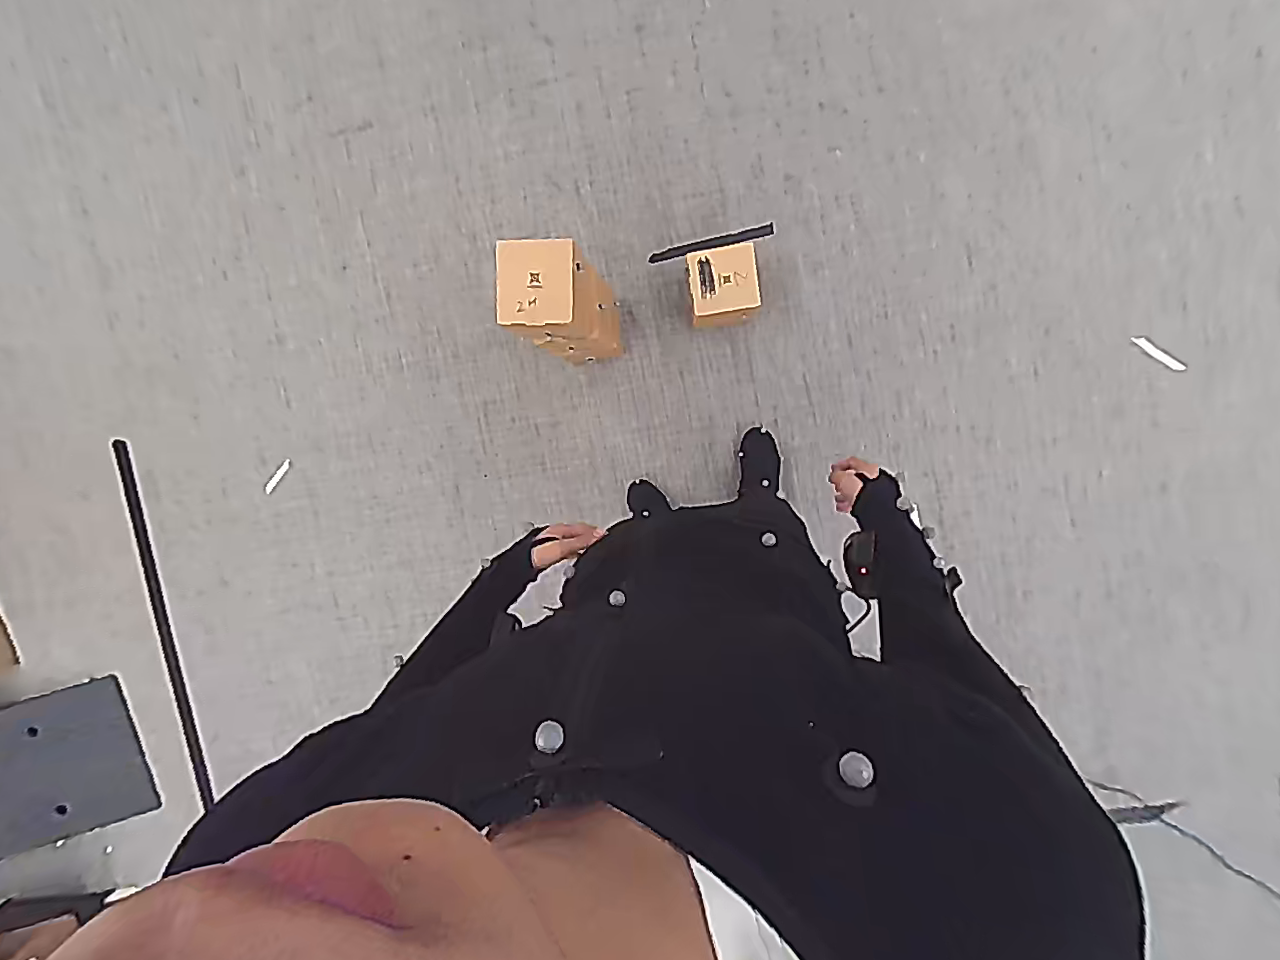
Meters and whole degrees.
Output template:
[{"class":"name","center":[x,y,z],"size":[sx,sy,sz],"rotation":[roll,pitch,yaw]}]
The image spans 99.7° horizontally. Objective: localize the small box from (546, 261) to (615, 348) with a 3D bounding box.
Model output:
[{"class":"small box","center":[-0.167,-0.464,1.454],"size":[0.168,0.176,0.179],"rotation":[-7,95,7]}]

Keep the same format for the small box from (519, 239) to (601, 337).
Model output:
[{"class":"small box","center":[-0.193,-0.452,1.295],"size":[0.168,0.176,0.179],"rotation":[-5,96,7]}]

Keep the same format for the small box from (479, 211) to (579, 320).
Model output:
[{"class":"small box","center":[-0.227,-0.442,1.133],"size":[0.168,0.176,0.179],"rotation":[1,96,6]}]
